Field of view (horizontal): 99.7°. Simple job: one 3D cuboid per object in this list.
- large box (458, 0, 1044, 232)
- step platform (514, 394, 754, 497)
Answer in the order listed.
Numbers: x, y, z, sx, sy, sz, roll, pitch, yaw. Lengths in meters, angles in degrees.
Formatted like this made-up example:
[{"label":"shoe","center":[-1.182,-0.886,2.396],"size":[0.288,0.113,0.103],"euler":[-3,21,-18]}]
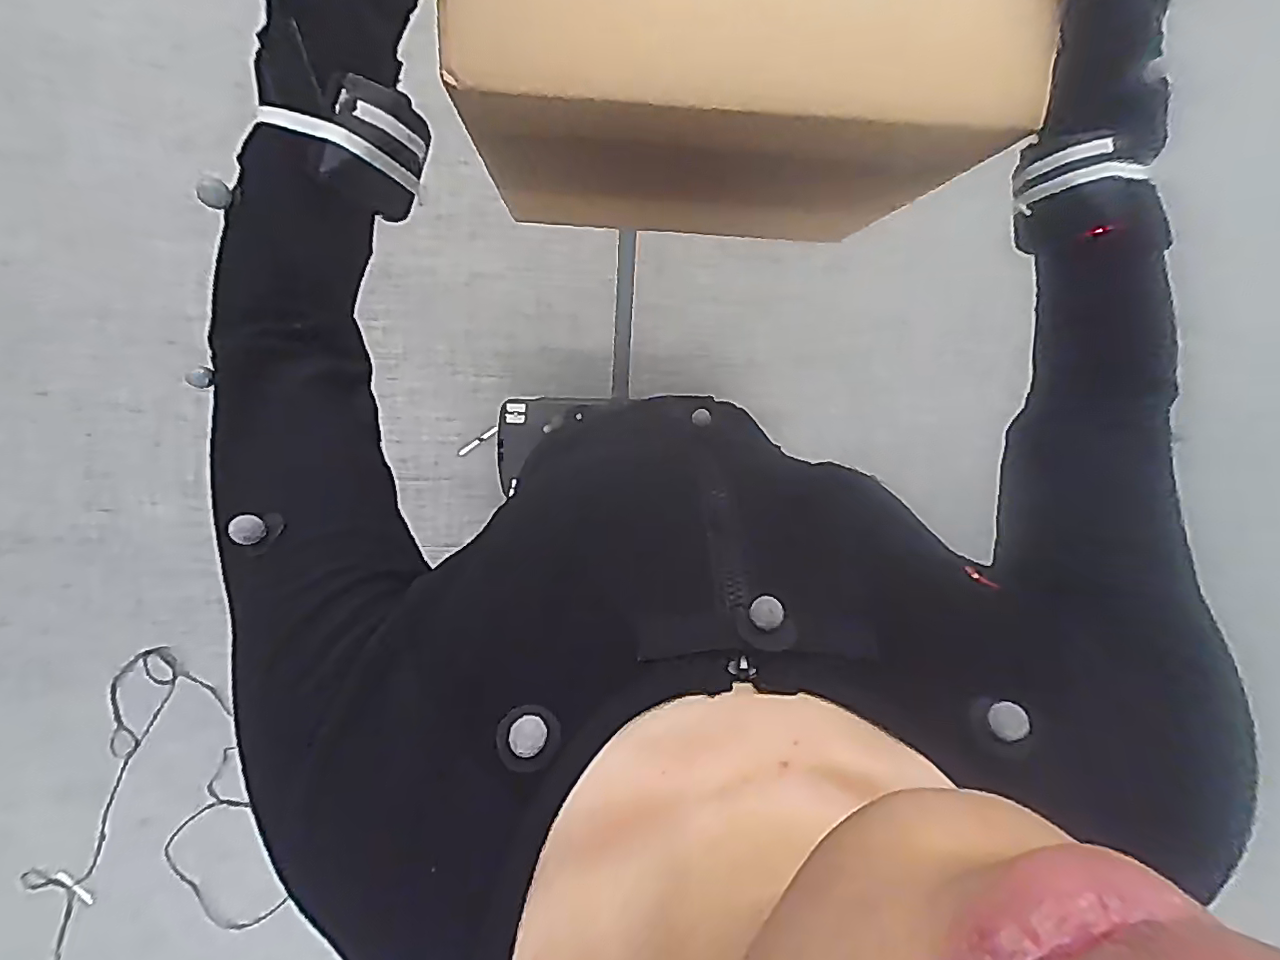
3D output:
[{"label":"large box","center":[0.067,-0.430,0.487],"size":[0.408,0.320,0.320],"euler":[0,101,-6]},{"label":"step platform","center":[-0.017,-0.103,1.567],"size":[0.684,0.204,0.286],"euler":[-1,97,-5]}]
